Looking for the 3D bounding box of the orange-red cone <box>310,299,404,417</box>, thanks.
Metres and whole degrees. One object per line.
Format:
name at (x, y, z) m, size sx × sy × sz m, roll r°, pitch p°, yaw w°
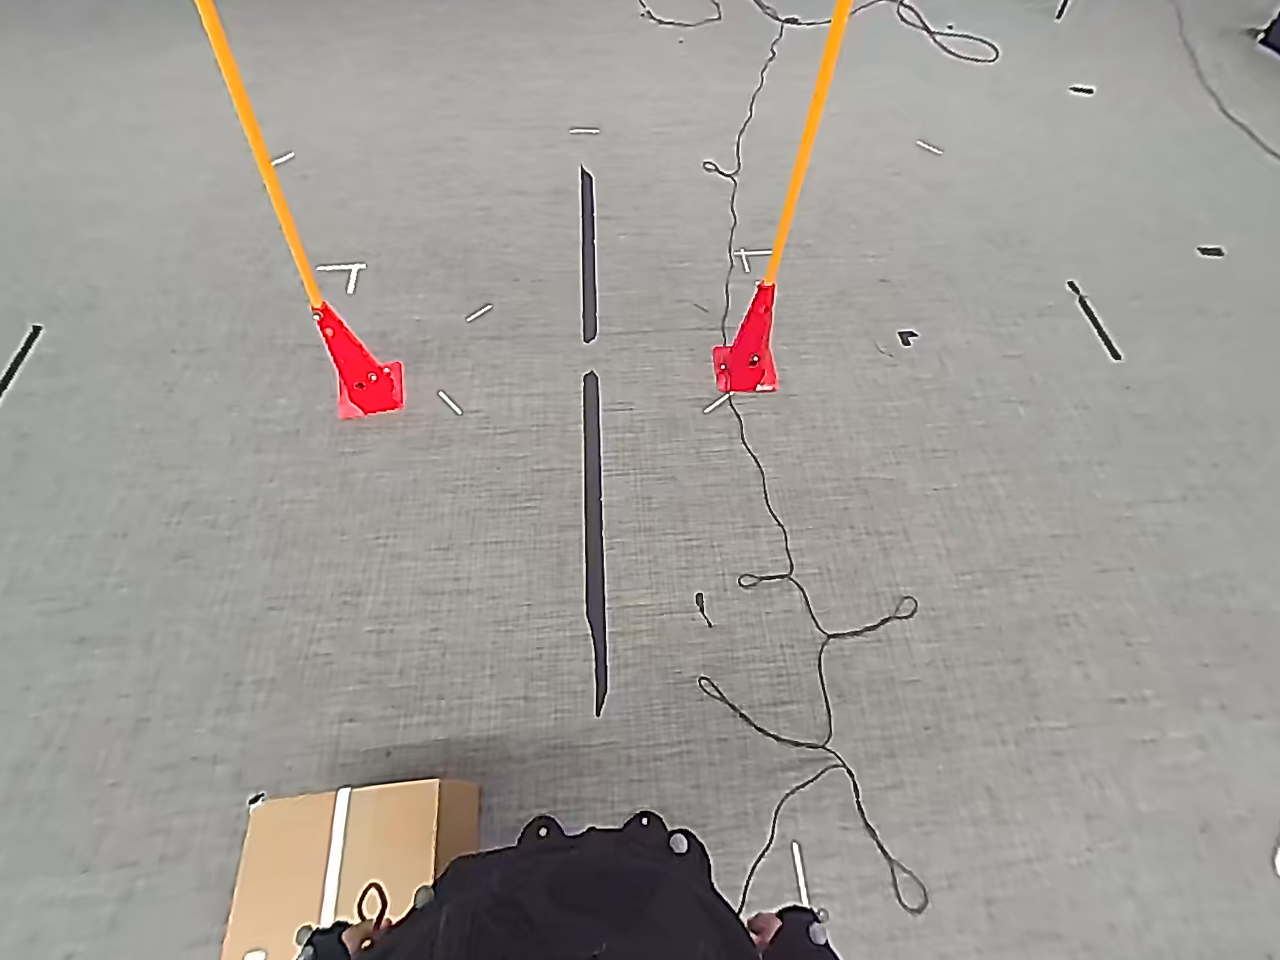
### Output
orange-red cone at (-0.849, -0.372, 1.562) m, size 0.199 × 0.360 × 0.198 m, roll -11°, pitch 61°, yaw -7°
